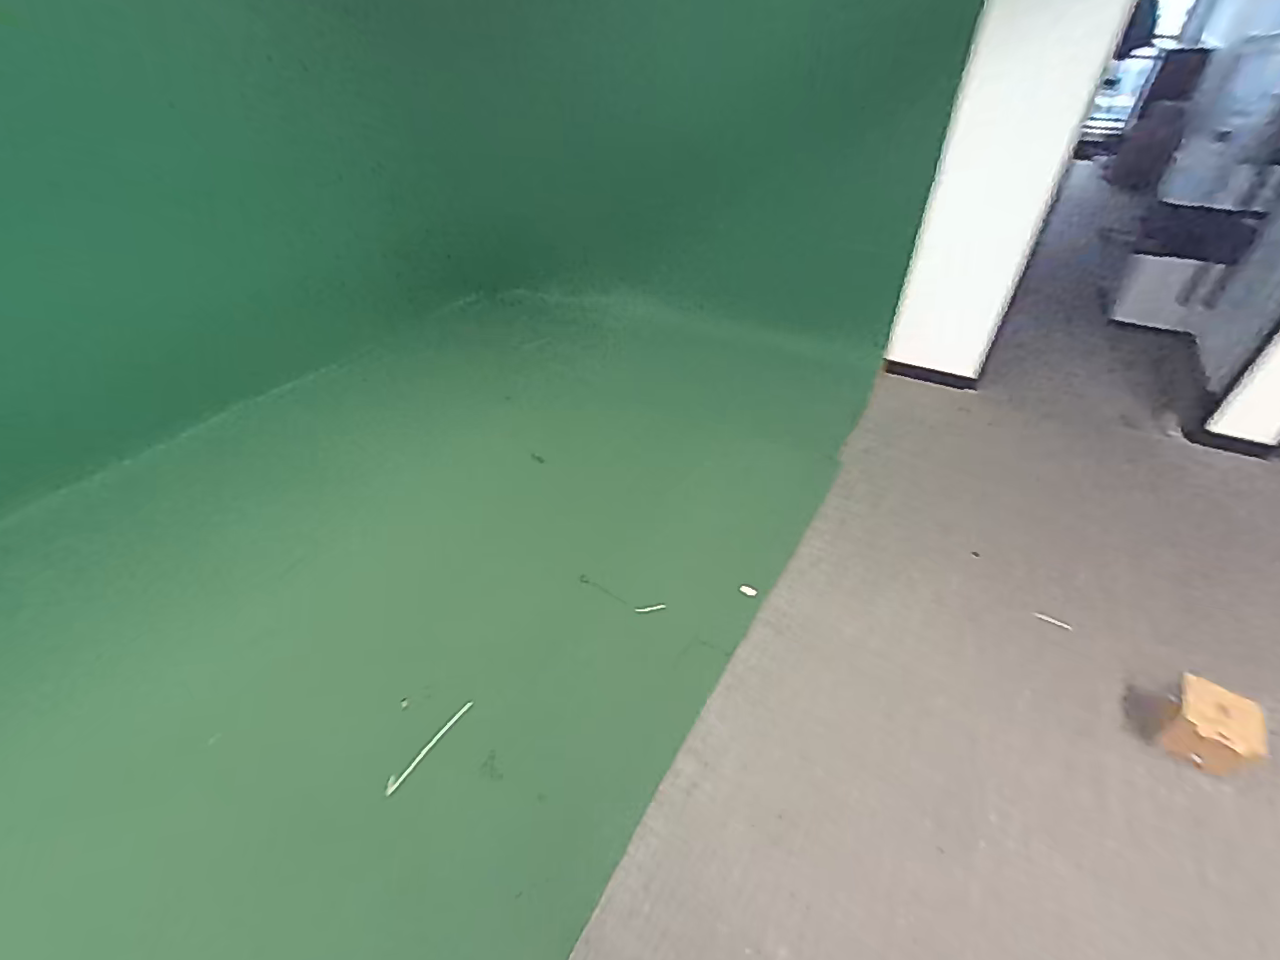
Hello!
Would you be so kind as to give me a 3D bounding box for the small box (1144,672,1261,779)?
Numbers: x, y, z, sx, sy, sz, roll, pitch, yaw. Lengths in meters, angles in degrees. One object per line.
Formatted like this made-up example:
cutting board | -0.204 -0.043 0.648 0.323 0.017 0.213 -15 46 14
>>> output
small box | 1.564 0.686 1.511 0.168 0.176 0.179 30 52 34
